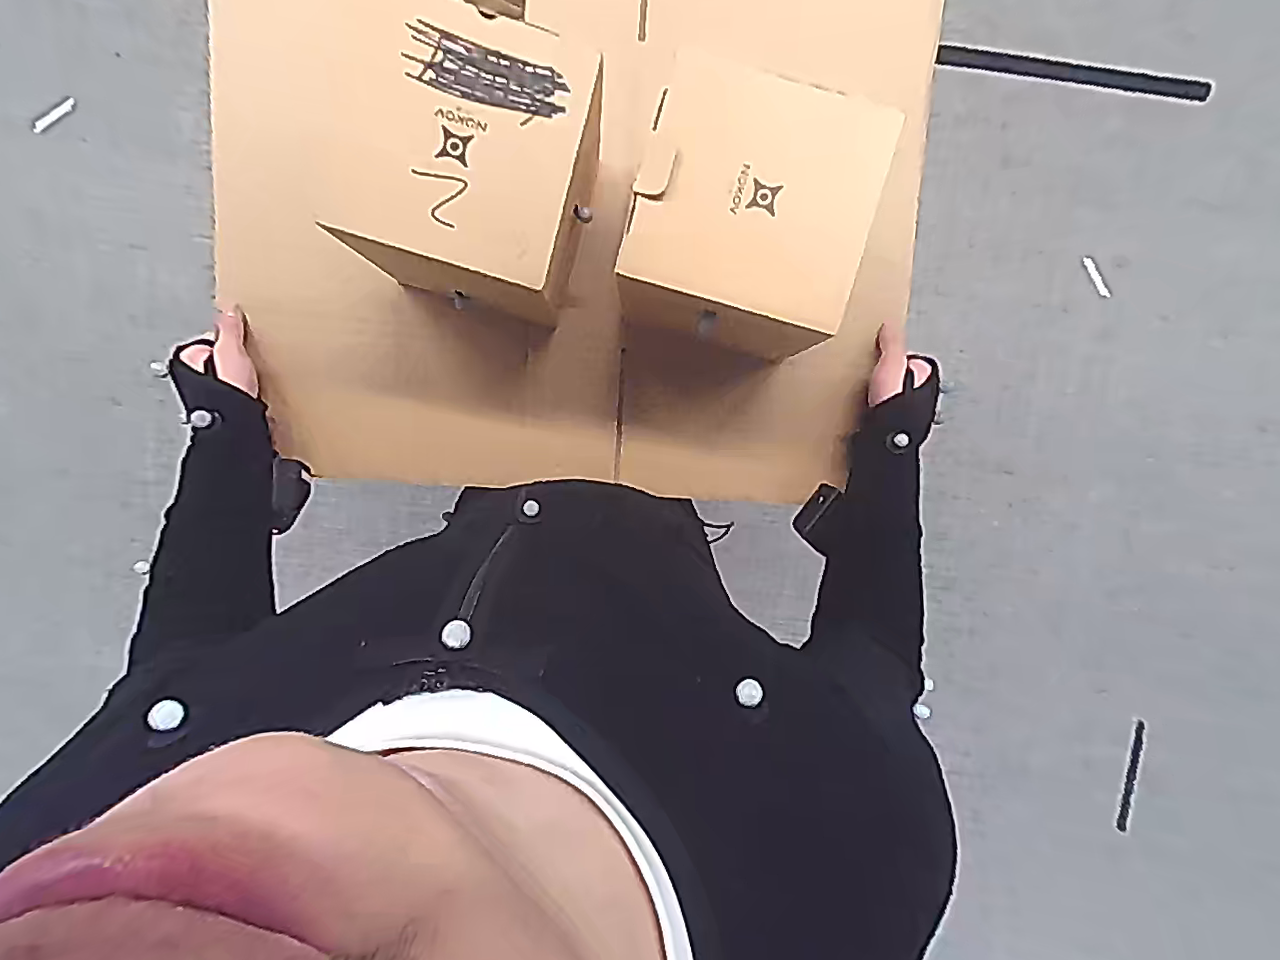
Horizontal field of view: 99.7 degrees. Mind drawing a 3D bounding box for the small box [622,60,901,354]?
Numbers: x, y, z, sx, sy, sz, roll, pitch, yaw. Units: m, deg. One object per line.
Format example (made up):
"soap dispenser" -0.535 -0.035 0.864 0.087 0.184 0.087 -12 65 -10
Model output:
"small box" 0.093 -0.220 0.490 0.179 0.176 0.168 16 96 0
